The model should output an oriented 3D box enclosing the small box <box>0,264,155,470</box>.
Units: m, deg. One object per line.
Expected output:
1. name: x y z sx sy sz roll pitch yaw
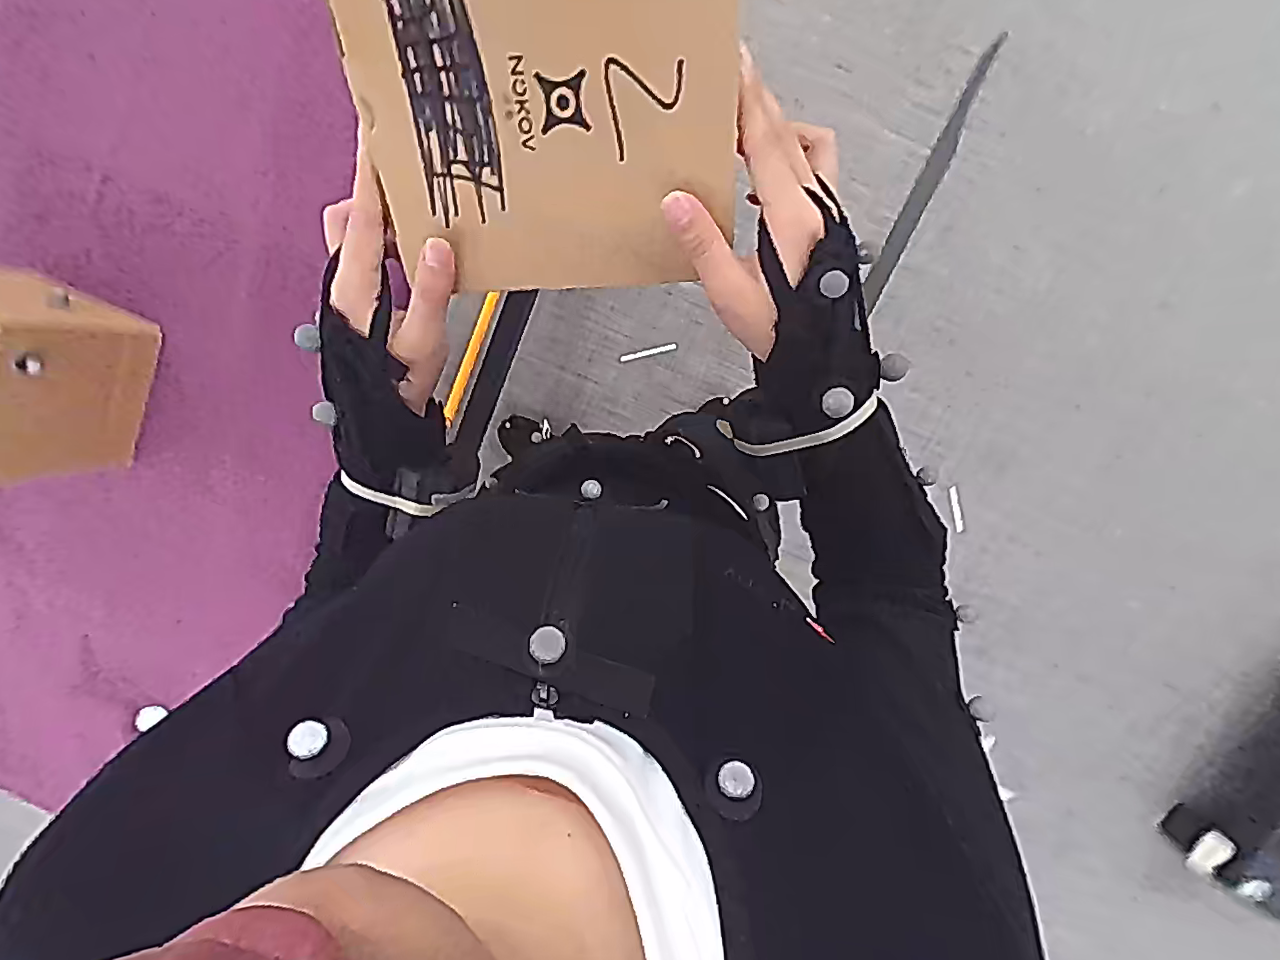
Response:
1. small box: -0.665 -0.118 0.561 0.168 0.176 0.179 24 101 -2
